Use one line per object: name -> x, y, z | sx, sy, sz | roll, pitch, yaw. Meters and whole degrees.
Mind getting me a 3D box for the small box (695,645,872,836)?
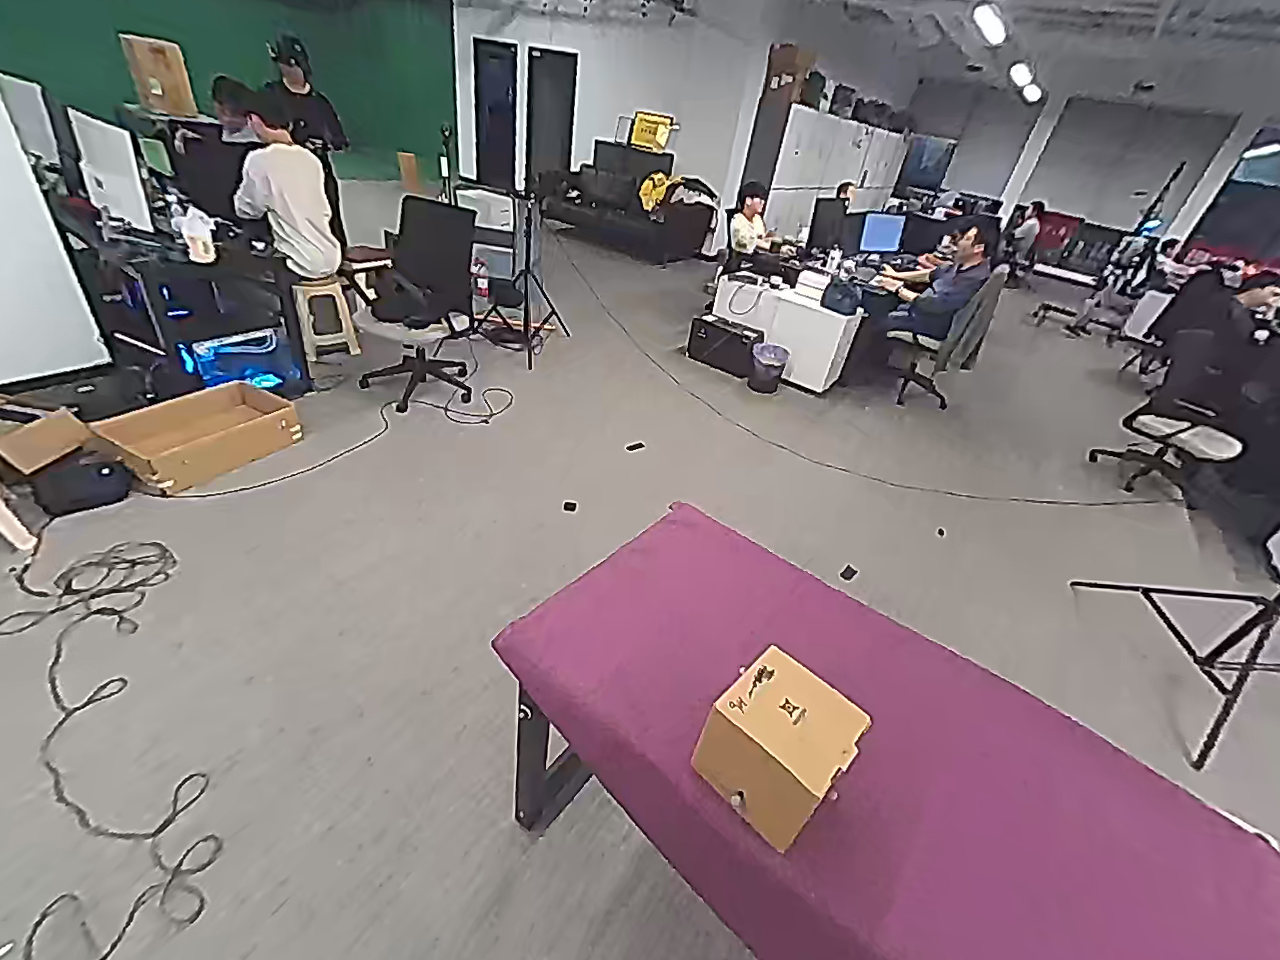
small box -> 0.210, 0.398, 0.821 | 0.179, 0.176, 0.168 | 34, 40, 30
